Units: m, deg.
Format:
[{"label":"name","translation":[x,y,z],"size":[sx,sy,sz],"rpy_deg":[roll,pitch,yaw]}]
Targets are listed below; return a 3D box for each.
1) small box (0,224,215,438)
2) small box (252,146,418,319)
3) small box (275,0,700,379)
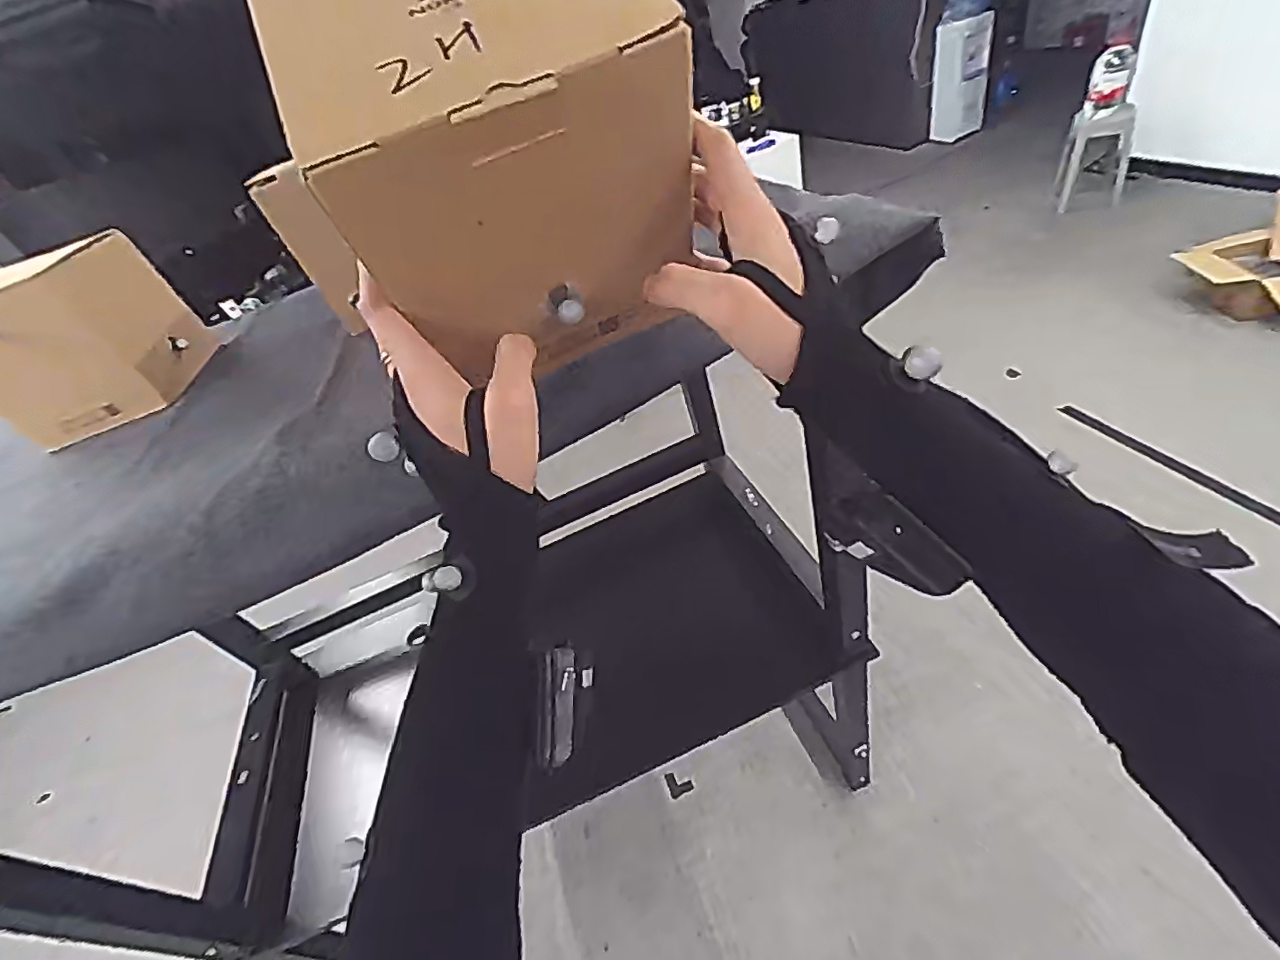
[{"label":"small box","translation":[-0.672,-0.181,0.656],"size":[0.168,0.176,0.179],"rpy_deg":[-21,41,0]},{"label":"small box","translation":[-0.321,-0.319,0.660],"size":[0.168,0.176,0.179],"rpy_deg":[-26,40,-6]},{"label":"small box","translation":[-0.076,-0.194,0.319],"size":[0.168,0.176,0.179],"rpy_deg":[-24,66,-4]}]
